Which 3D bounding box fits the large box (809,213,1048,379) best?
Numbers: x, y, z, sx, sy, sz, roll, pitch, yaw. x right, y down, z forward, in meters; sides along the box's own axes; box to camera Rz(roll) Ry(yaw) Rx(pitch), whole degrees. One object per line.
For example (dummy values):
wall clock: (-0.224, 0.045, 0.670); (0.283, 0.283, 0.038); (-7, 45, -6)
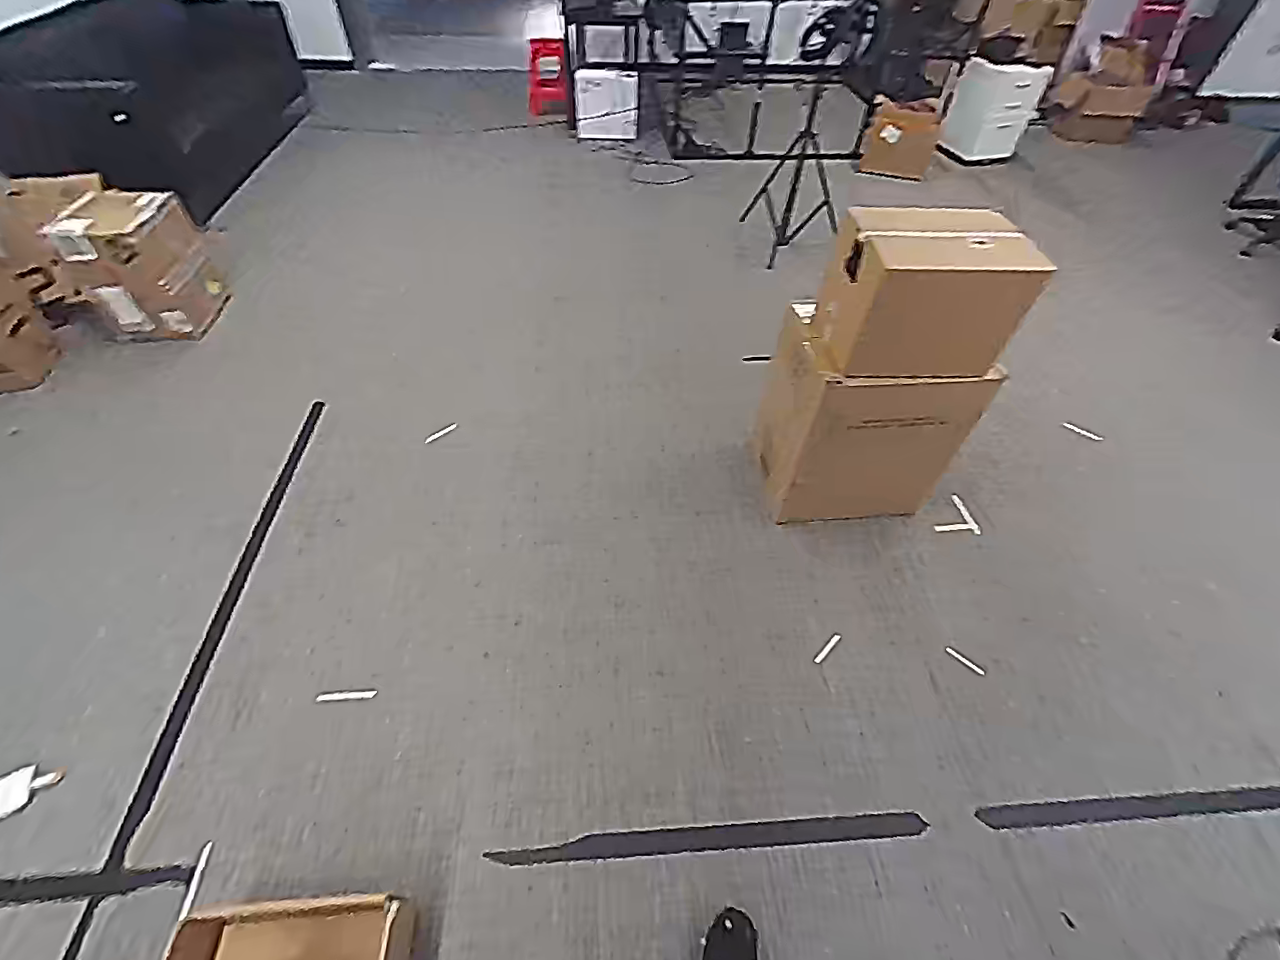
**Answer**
large box: (0.717, -0.481, 1.423); (0.408, 0.320, 0.320); (-1, 50, -4)
